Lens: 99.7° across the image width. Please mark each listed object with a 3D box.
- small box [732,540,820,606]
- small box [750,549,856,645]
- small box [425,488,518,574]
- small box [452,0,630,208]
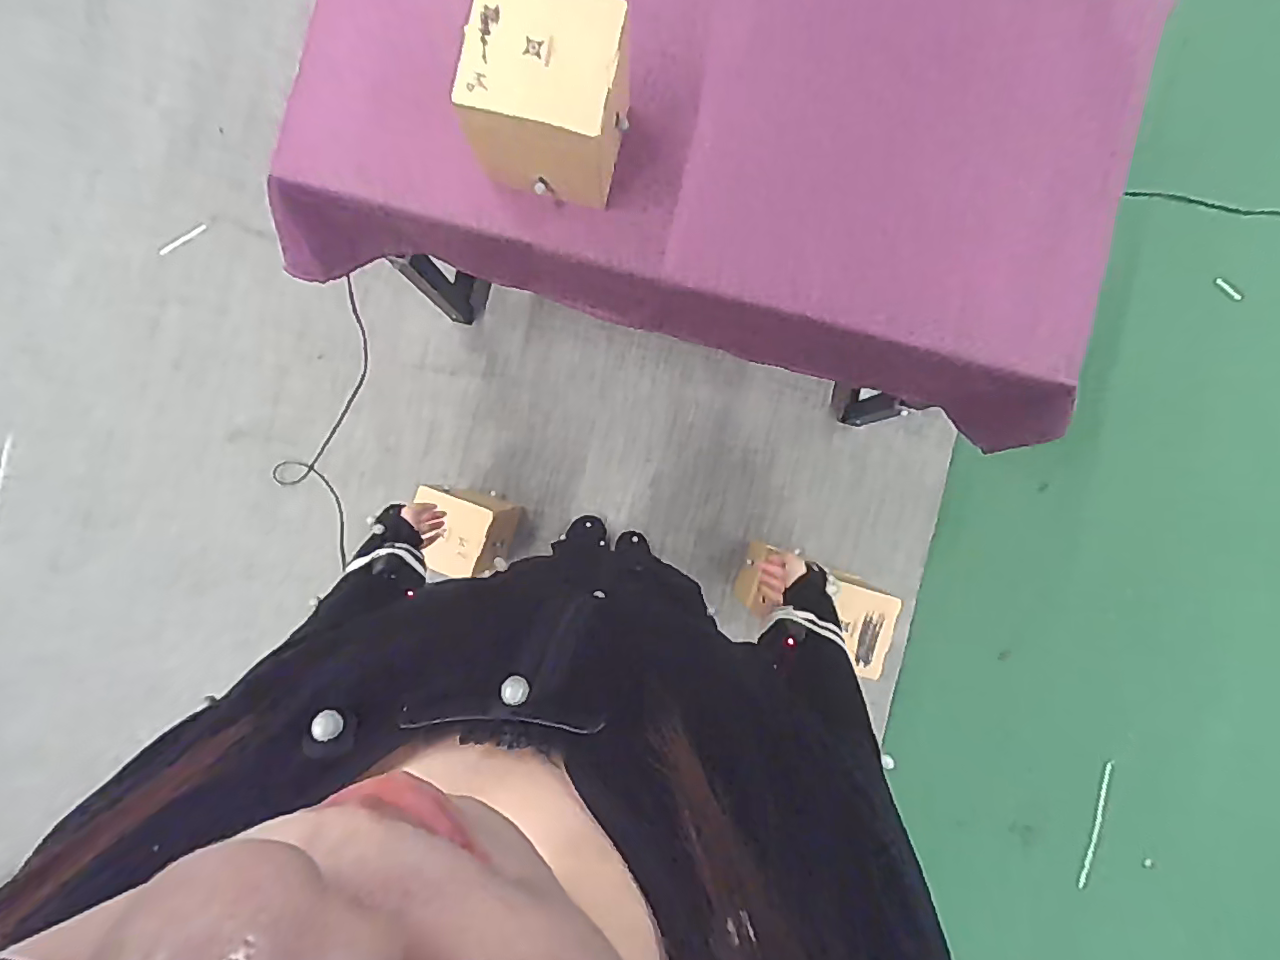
[{"bbox_3d":[0.362,0.265,1.447,0.179,0.176,0.168,18,89,-3],"label":"small box"},{"bbox_3d":[0.377,0.268,1.285,0.179,0.176,0.168,16,90,-3],"label":"small box"},{"bbox_3d":[-0.432,0.127,1.416,0.168,0.176,0.179,17,88,-3],"label":"small box"},{"bbox_3d":[-0.118,-0.484,0.701,0.179,0.176,0.168,13,89,-3],"label":"small box"}]
